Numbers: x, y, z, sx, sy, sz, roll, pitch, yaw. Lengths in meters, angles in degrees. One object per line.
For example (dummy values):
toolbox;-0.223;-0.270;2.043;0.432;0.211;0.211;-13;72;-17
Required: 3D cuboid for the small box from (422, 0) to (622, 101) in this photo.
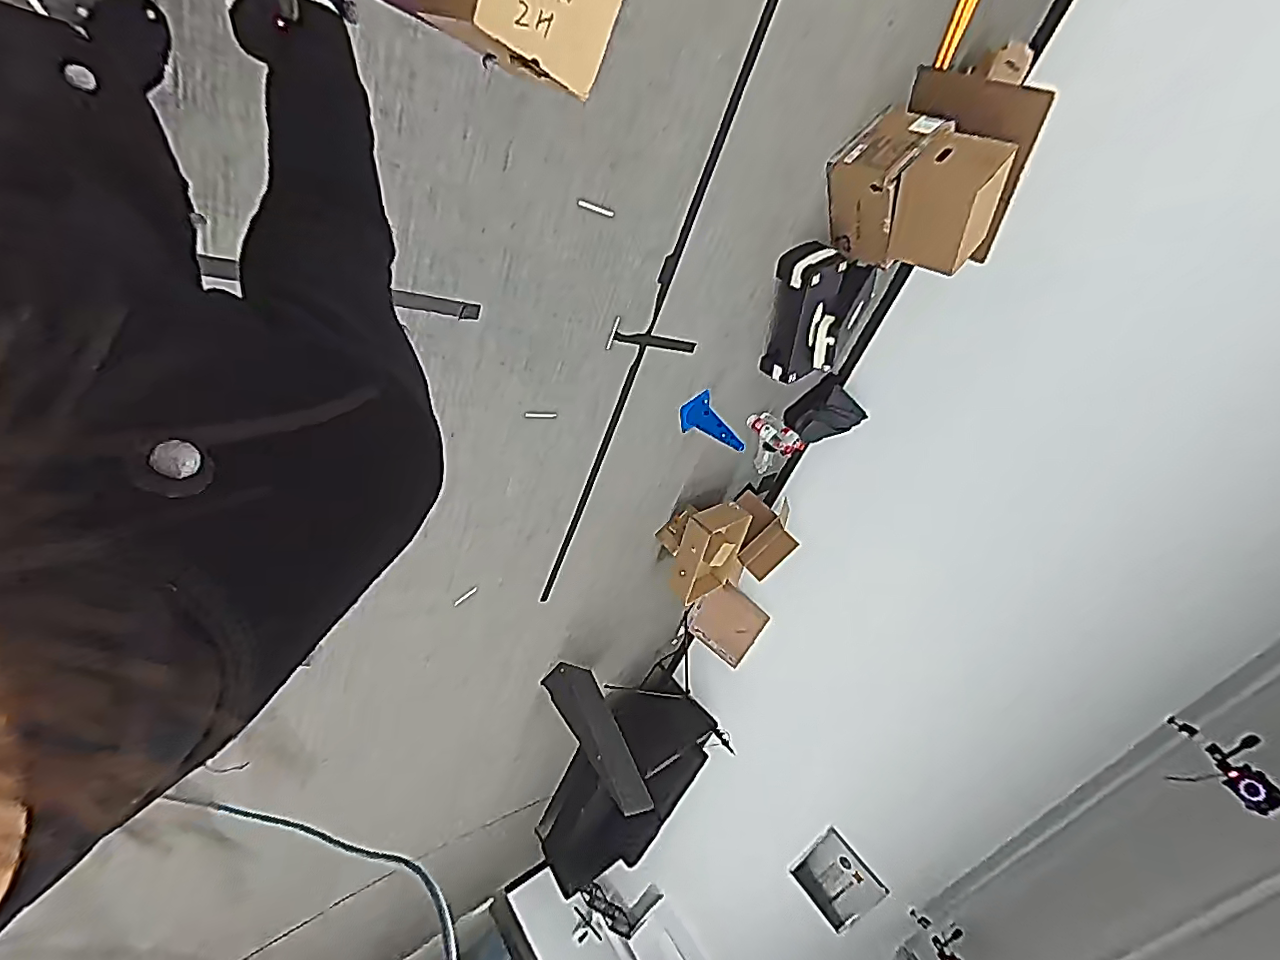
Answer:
small box;-0.138;-0.602;0.647;0.168;0.176;0.179;0;124;-47
